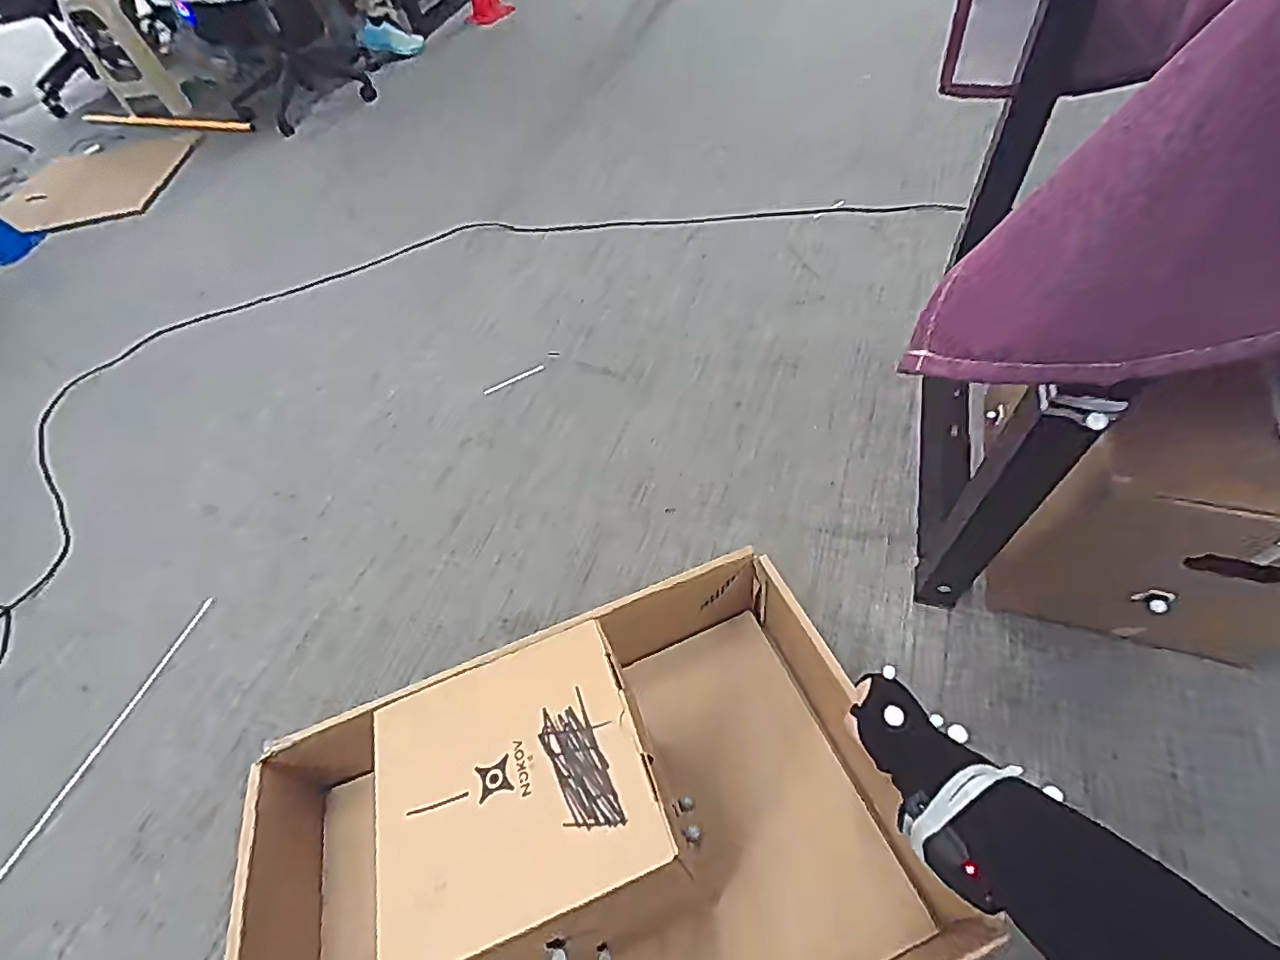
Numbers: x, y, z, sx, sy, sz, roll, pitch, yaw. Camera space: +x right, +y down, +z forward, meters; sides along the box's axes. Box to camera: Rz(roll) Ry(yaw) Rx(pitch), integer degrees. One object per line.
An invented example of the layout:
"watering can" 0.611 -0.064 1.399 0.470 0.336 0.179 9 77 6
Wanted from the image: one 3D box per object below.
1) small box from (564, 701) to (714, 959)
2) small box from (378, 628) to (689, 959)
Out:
"small box" -0.041 0.355 0.532 0.179 0.176 0.168 -22 48 -7
"small box" -0.071 0.248 0.410 0.179 0.176 0.168 -22 47 -6
